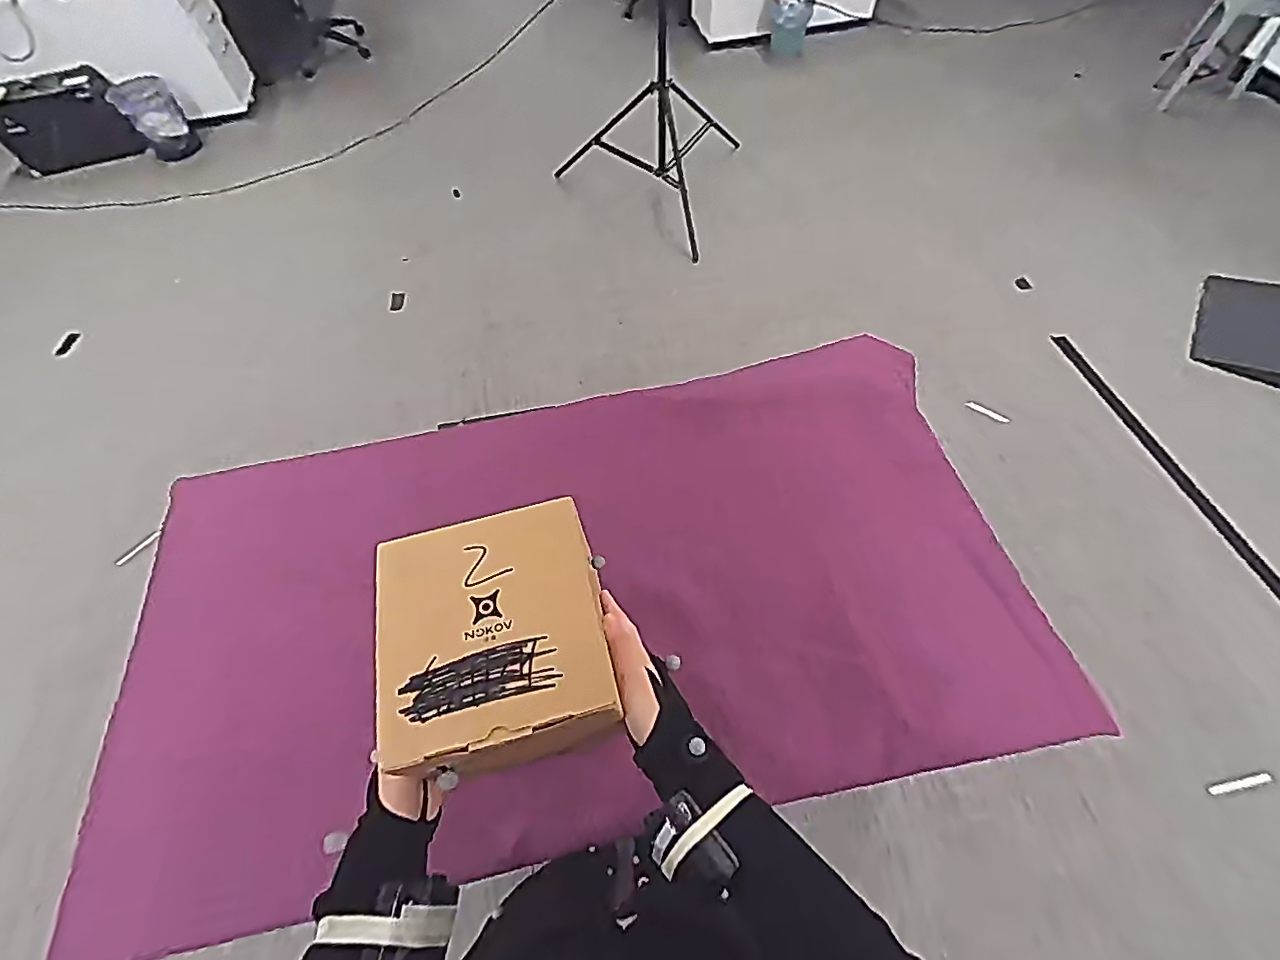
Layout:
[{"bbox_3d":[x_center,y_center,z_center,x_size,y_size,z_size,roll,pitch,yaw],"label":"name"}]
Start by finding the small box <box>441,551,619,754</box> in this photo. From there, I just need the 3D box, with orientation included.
[{"bbox_3d":[-0.122,0.208,0.638,0.168,0.176,0.179,-10,58,-2],"label":"small box"}]
